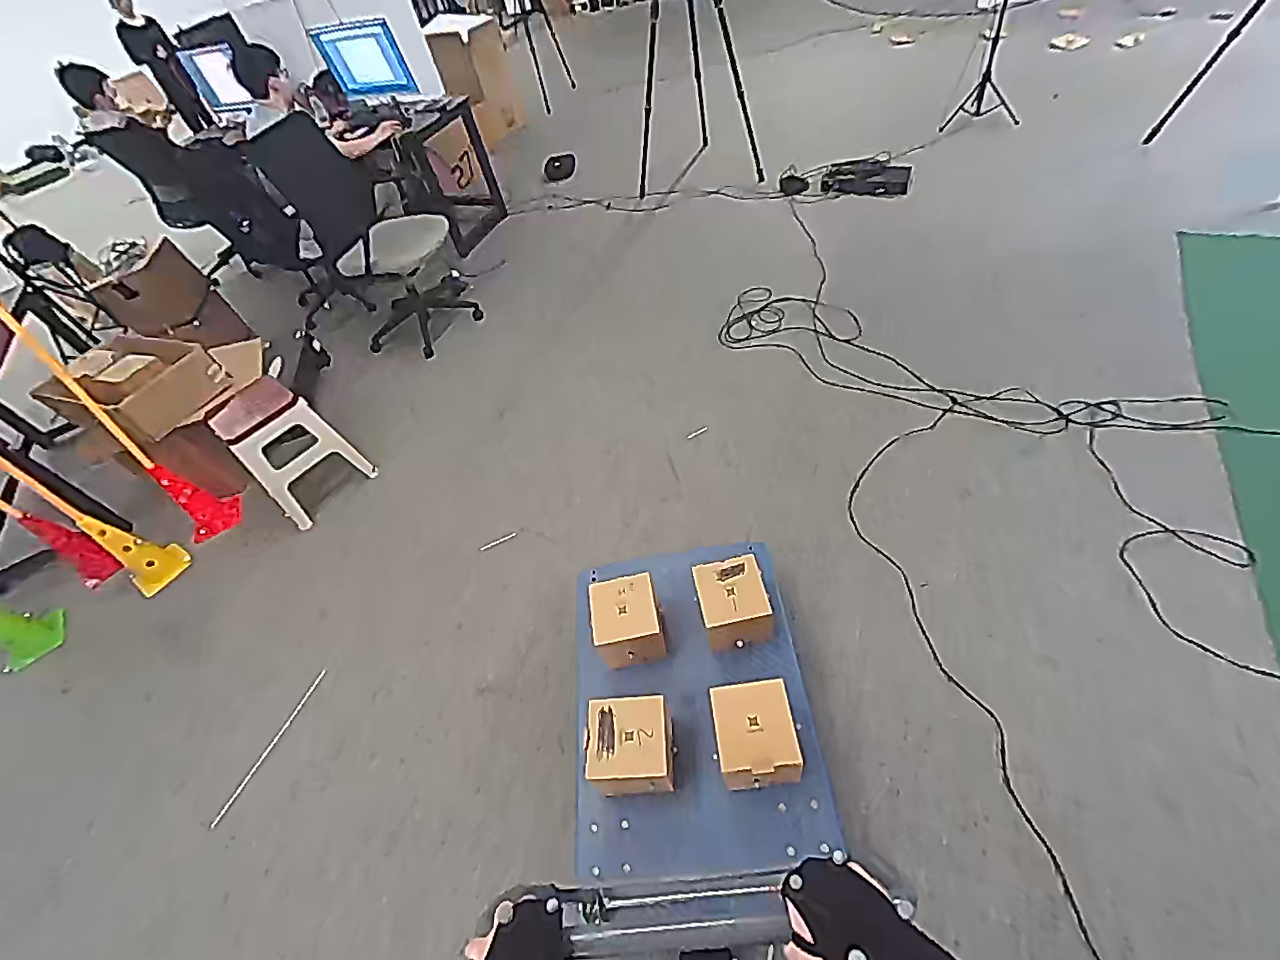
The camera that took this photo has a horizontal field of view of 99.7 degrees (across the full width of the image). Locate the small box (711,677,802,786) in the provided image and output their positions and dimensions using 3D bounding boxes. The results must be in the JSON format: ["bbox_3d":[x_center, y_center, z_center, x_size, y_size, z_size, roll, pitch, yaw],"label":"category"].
[{"bbox_3d":[0.253,0.564,1.208,0.168,0.176,0.179,-9,50,5],"label":"small box"}]

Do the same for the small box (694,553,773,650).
[{"bbox_3d":[0.241,0.318,1.410,0.168,0.176,0.179,-12,50,3],"label":"small box"}]

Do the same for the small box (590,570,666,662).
[{"bbox_3d":[-0.030,0.367,1.429,0.168,0.176,0.179,-11,50,2],"label":"small box"}]
